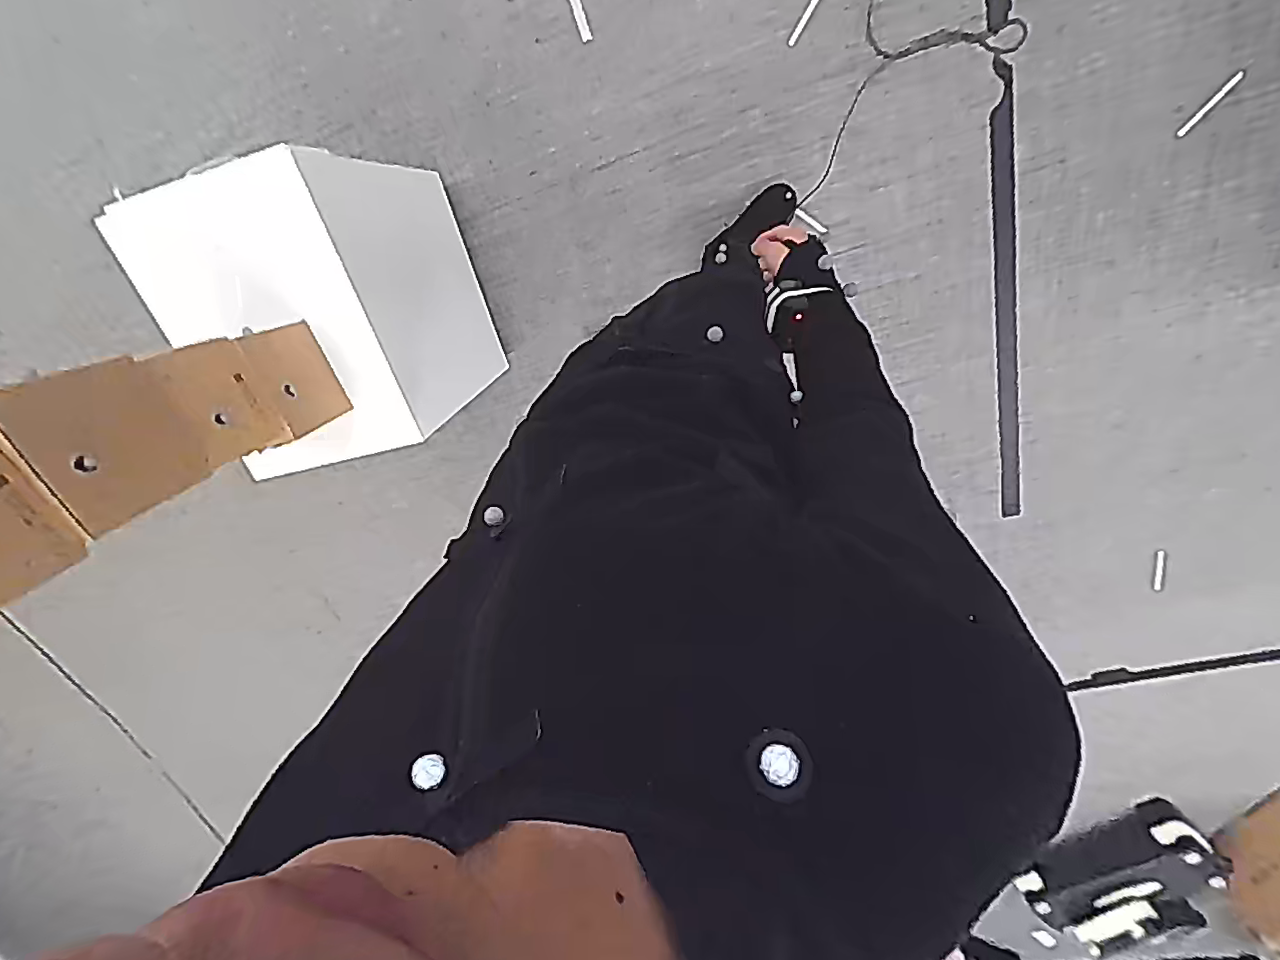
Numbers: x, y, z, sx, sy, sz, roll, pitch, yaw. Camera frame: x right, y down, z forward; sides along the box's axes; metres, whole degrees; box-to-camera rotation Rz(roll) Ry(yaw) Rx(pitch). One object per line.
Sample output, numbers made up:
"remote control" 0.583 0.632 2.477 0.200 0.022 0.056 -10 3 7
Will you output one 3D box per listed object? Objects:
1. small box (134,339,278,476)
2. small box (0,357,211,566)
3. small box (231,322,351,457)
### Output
"small box" -0.681 -0.095 0.796 0.179 0.176 0.168 -13 114 12
"small box" -0.679 -0.028 0.644 0.168 0.176 0.179 -13 114 12
"small box" -0.651 -0.158 0.943 0.168 0.176 0.179 -14 113 12
